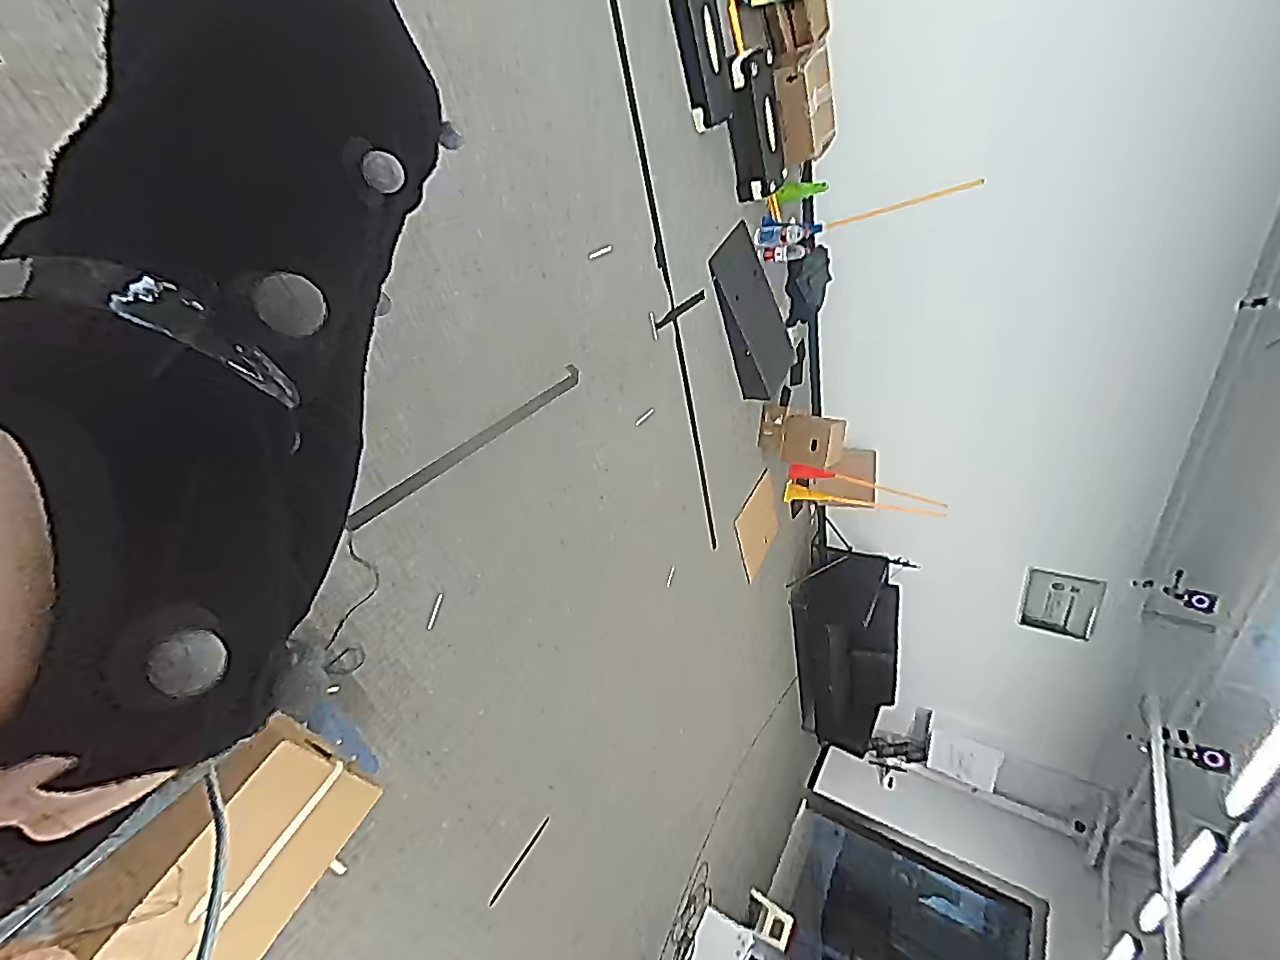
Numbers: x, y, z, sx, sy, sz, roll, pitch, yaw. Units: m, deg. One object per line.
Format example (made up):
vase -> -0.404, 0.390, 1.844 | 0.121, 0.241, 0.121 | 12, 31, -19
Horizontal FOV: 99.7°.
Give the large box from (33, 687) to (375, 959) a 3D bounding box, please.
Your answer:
large box -> -0.858, 0.716, 1.108 | 0.408, 0.320, 0.320 | -55, 138, -31
